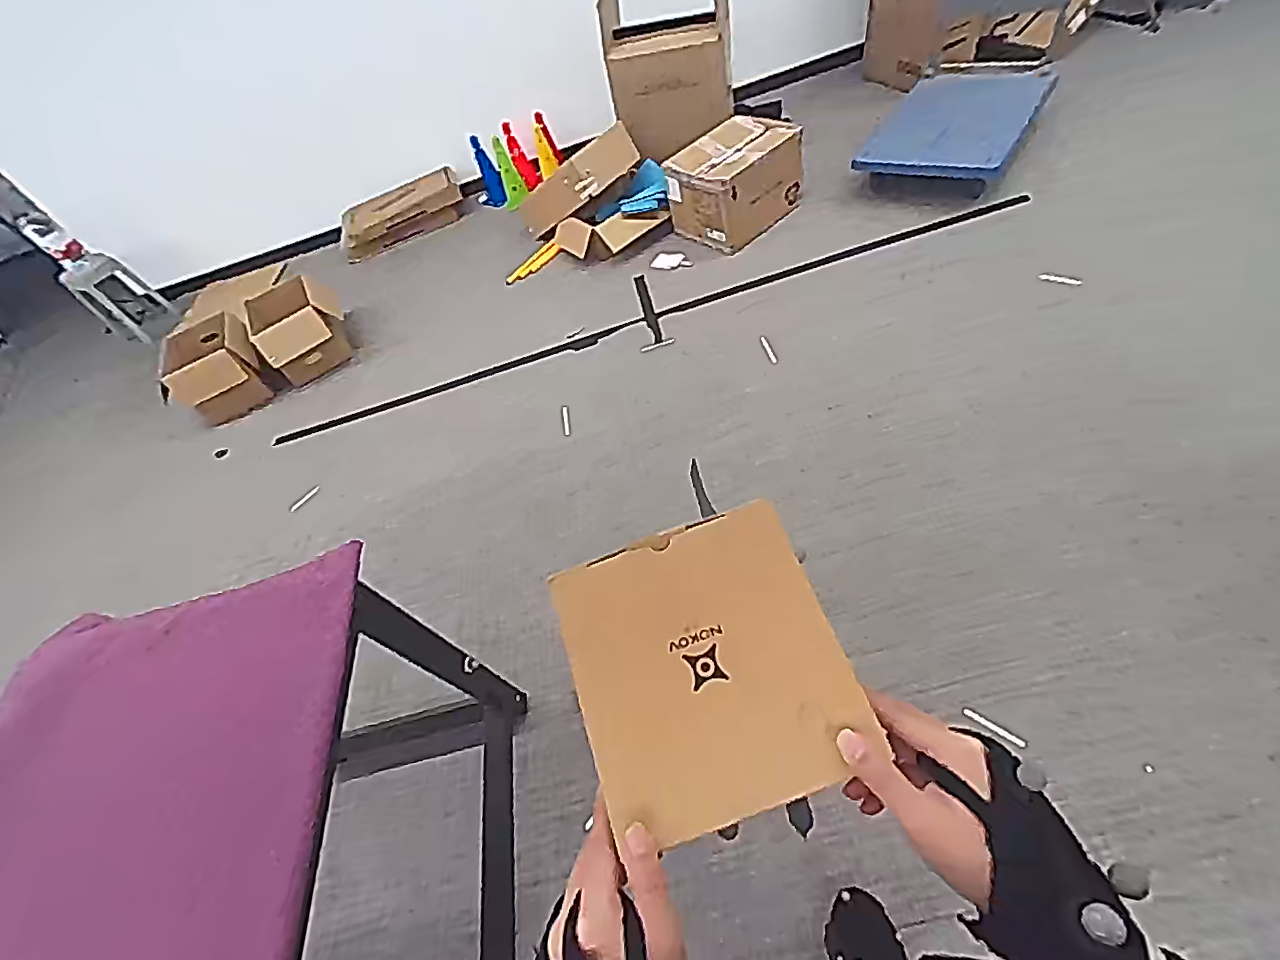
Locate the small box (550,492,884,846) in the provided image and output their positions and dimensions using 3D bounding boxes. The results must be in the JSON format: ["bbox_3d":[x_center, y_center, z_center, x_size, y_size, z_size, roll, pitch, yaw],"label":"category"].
[{"bbox_3d":[0.050,0.141,0.413,0.168,0.176,0.179,-20,62,-2],"label":"small box"}]
